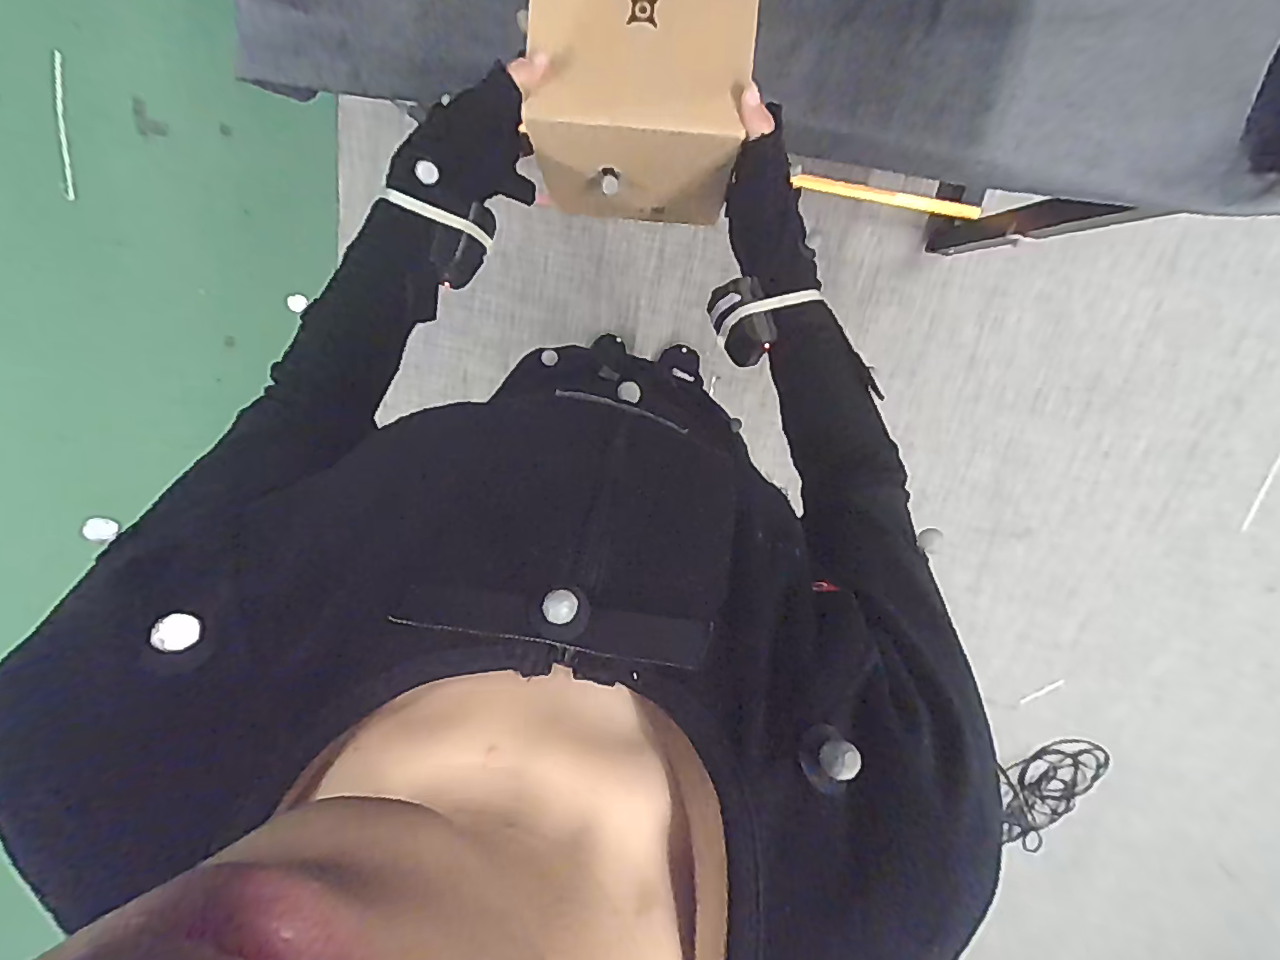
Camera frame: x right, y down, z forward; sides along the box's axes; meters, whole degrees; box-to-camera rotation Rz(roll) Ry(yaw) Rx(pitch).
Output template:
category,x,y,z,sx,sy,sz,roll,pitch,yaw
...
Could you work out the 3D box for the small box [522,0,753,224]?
category,x,y,z,sx,sy,sz,roll,pitch,yaw
small box,0.002,-0.347,0.474,0.168,0.176,0.179,5,92,0
